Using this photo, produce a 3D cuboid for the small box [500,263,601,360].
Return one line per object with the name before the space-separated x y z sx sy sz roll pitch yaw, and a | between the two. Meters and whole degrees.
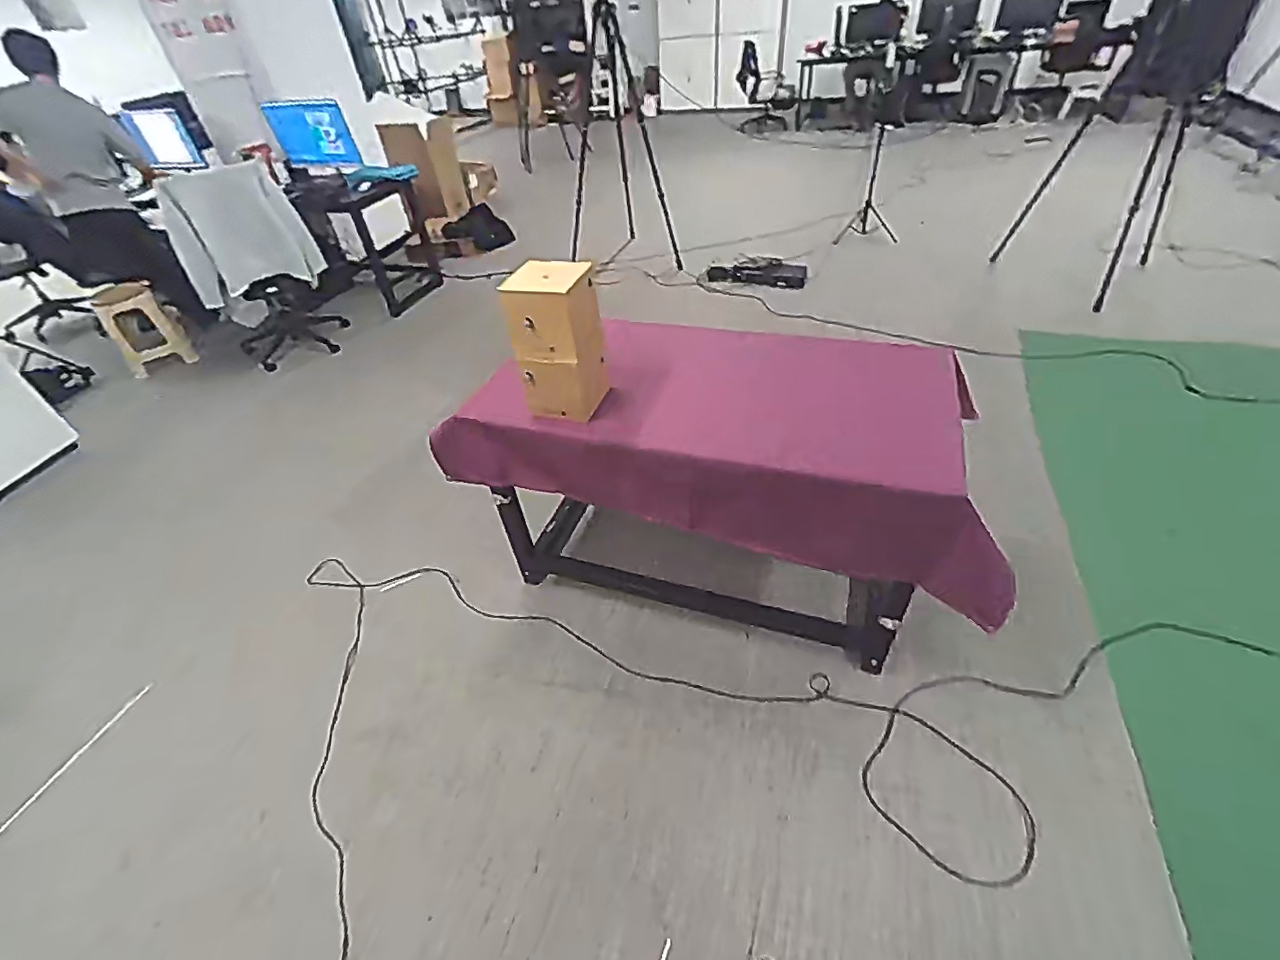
small box | -0.199 -0.396 1.272 0.168 0.176 0.179 7 42 15
